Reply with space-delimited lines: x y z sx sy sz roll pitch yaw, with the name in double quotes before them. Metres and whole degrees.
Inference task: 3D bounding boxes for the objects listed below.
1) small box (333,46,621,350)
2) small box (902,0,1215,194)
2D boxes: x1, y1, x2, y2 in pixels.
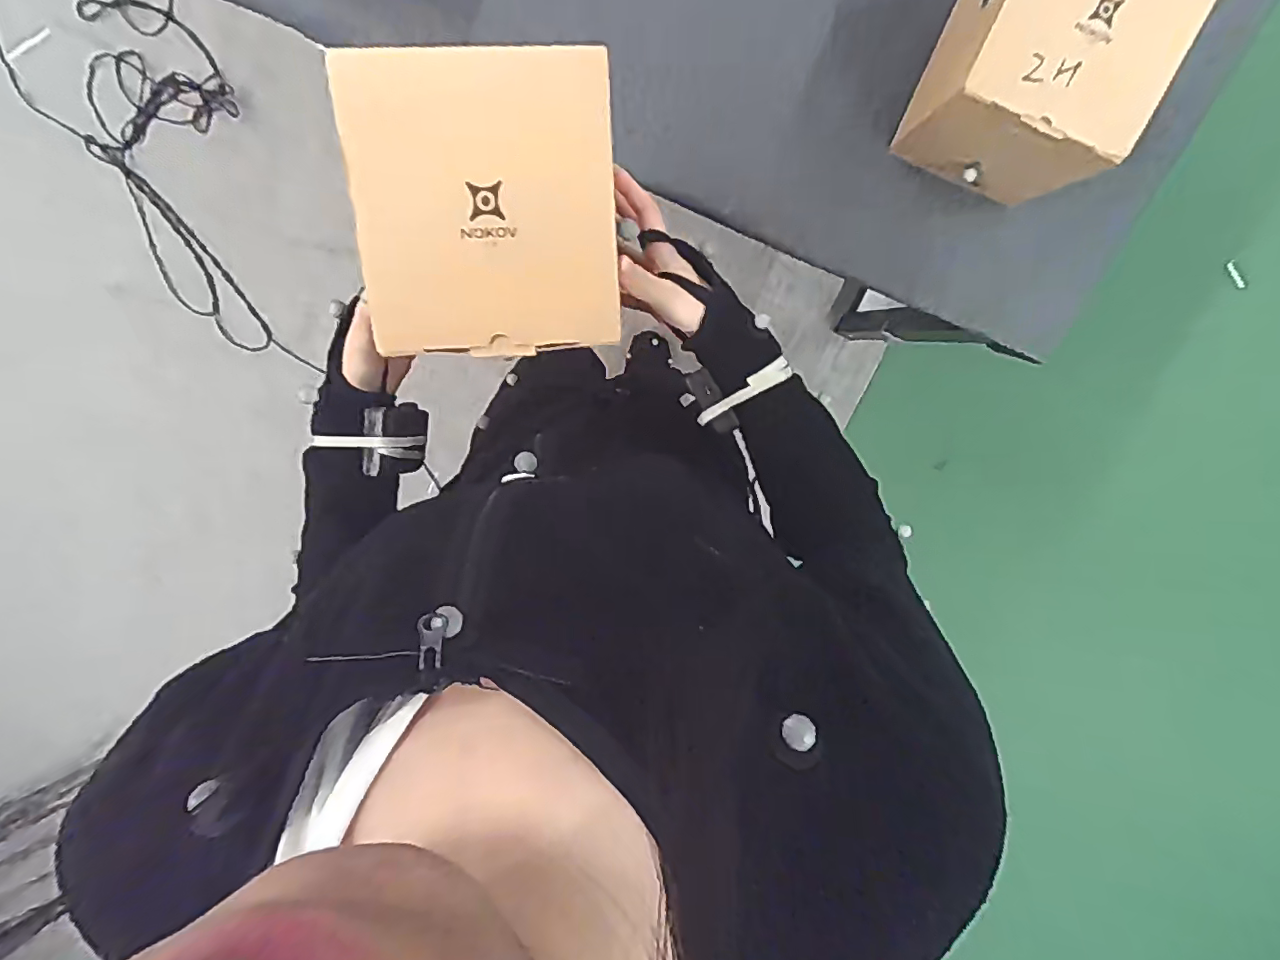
"small box" -0.105 -0.200 0.427 0.168 0.176 0.179 -5 108 -3
"small box" 0.397 -0.419 0.536 0.168 0.176 0.179 22 106 -2
